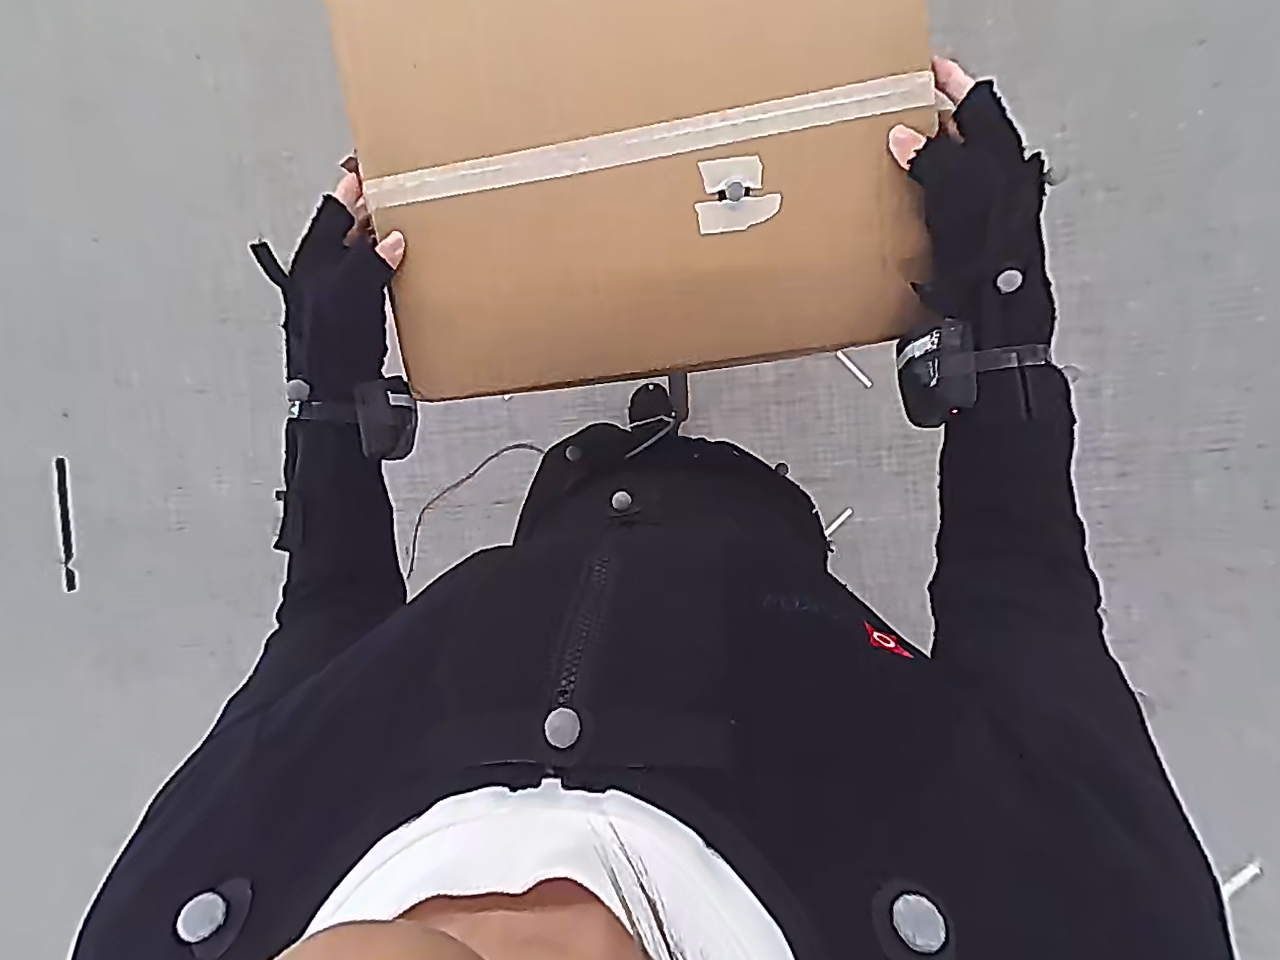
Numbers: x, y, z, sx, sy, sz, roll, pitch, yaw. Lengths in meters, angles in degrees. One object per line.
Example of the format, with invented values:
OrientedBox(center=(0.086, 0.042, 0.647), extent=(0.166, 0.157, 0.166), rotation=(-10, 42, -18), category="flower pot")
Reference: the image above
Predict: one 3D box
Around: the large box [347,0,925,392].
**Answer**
OrientedBox(center=(0.009, -0.273, 0.546), extent=(0.408, 0.320, 0.320), rotation=(-7, 101, 6), category="large box")
